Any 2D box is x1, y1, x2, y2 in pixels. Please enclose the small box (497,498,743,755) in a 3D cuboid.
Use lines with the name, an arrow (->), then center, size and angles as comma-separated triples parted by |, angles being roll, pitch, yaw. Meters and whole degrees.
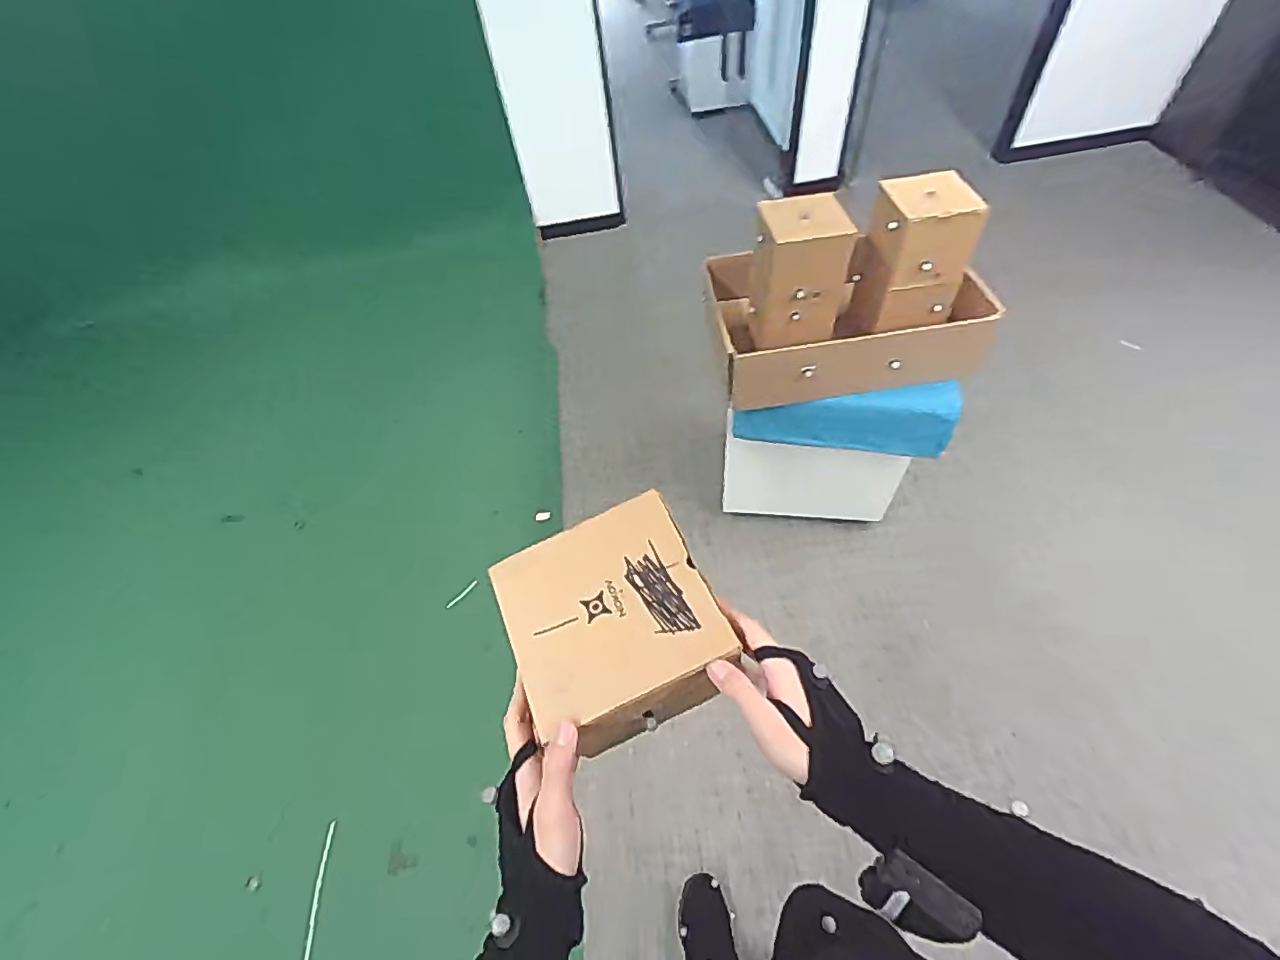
small box -> -0.014, 0.151, 0.535 | 0.179, 0.176, 0.168 | -24, 57, -4

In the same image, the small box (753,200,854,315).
small box -> 0.355, -0.496, 1.211 | 0.168, 0.176, 0.179 | -8, 52, 1

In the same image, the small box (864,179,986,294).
small box -> 0.623, -0.543, 1.211 | 0.168, 0.176, 0.179 | -8, 52, 2
